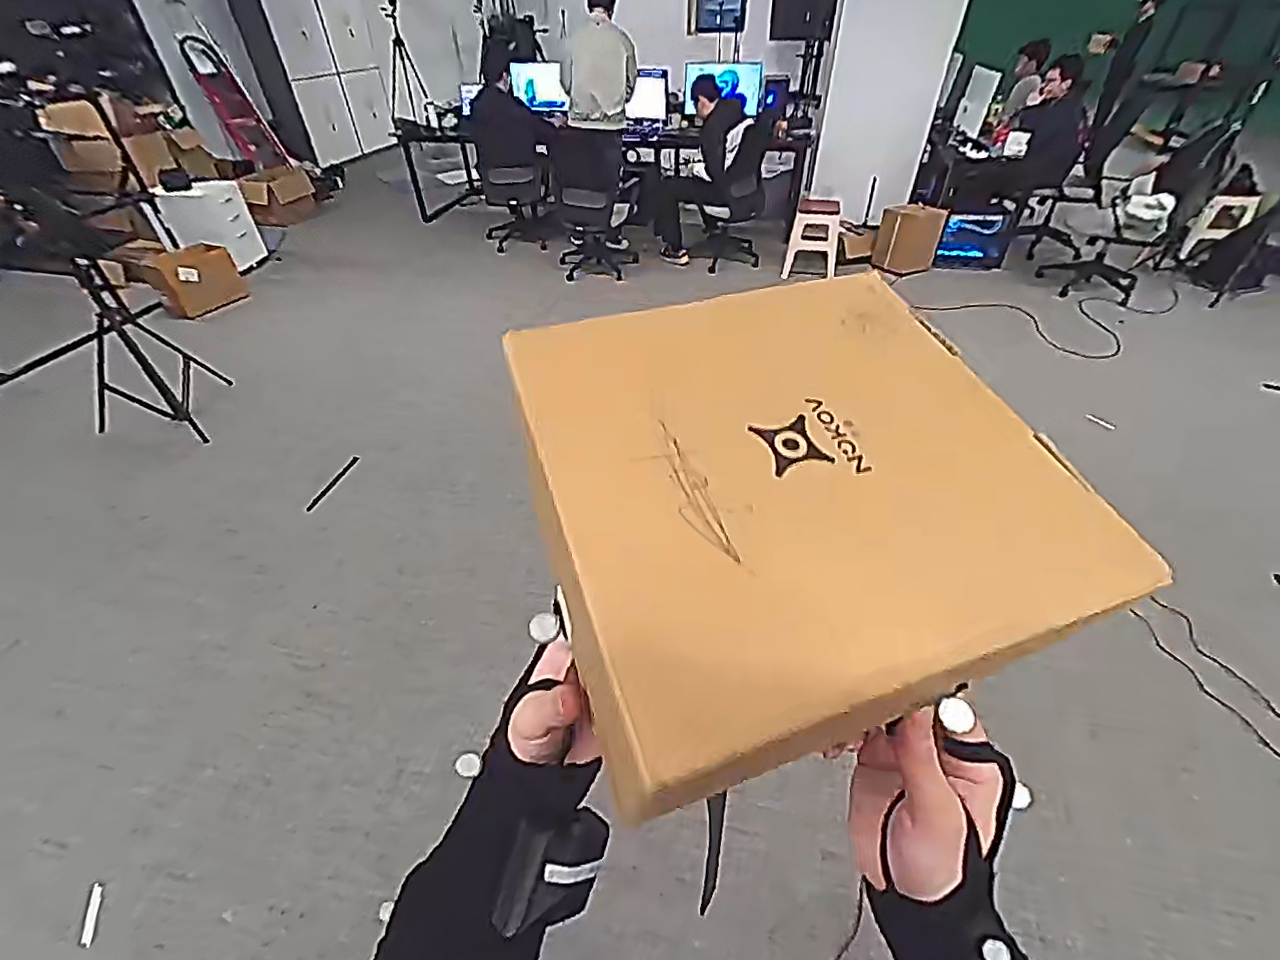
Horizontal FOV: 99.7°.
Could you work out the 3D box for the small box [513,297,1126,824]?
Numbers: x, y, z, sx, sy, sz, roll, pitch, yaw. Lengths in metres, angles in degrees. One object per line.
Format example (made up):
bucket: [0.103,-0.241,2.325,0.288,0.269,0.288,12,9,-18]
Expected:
small box: [0.050,0.043,0.265,0.179,0.176,0.168,-16,56,-14]
